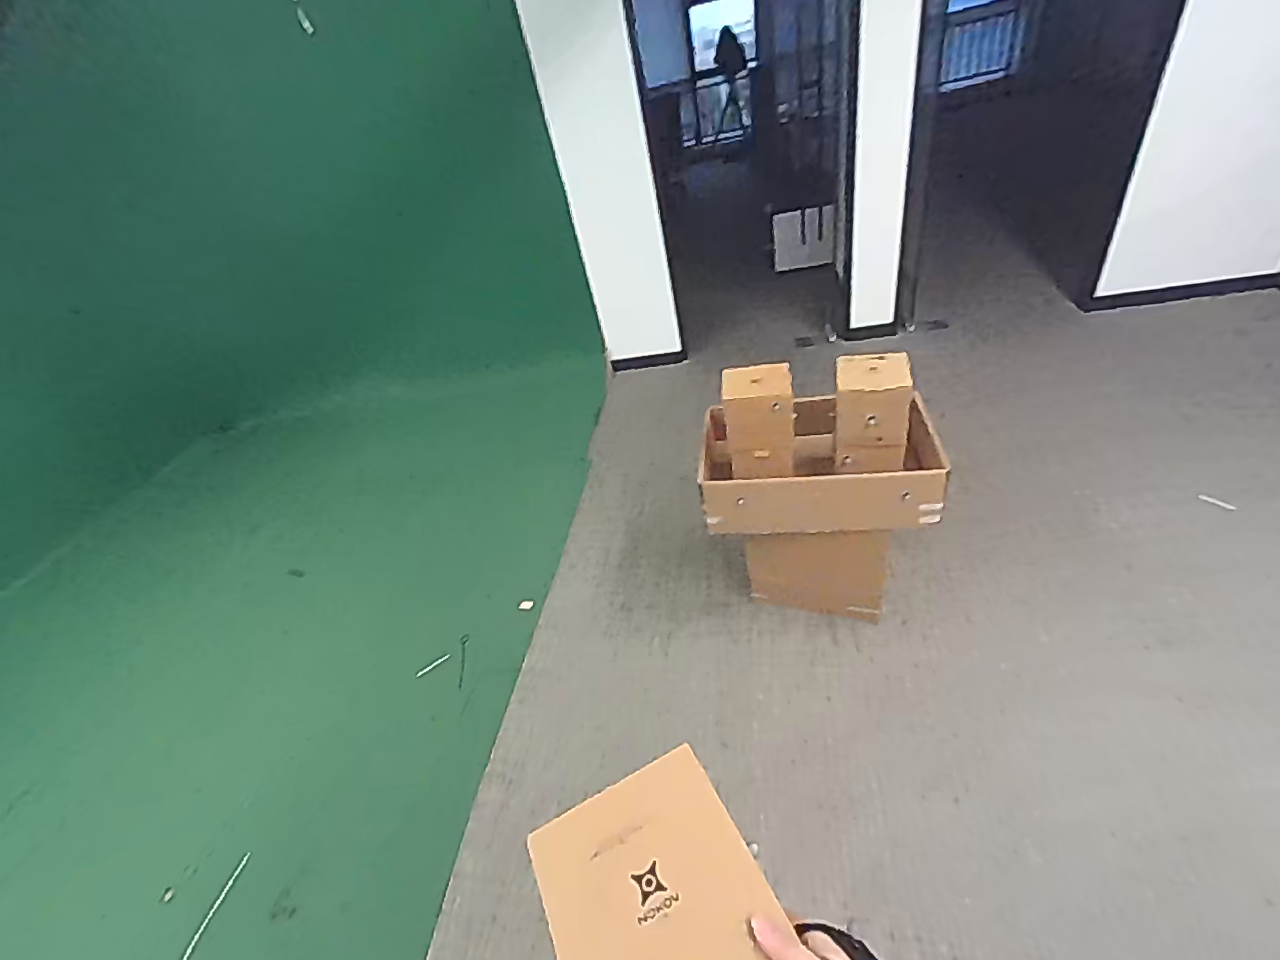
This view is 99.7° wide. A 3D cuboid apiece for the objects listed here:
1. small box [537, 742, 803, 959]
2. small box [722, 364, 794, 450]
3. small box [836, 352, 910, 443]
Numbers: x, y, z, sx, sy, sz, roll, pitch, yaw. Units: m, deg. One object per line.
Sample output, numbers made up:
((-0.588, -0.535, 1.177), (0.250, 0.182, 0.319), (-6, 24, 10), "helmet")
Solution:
((0.029, 0.383, 0.479), (0.168, 0.176, 0.179), (-23, 37, -12), "small box")
((0.322, -0.193, 1.469), (0.179, 0.176, 0.168), (-4, 39, 14), "small box")
((0.592, -0.207, 1.387), (0.168, 0.176, 0.179), (0, 41, 20), "small box")
